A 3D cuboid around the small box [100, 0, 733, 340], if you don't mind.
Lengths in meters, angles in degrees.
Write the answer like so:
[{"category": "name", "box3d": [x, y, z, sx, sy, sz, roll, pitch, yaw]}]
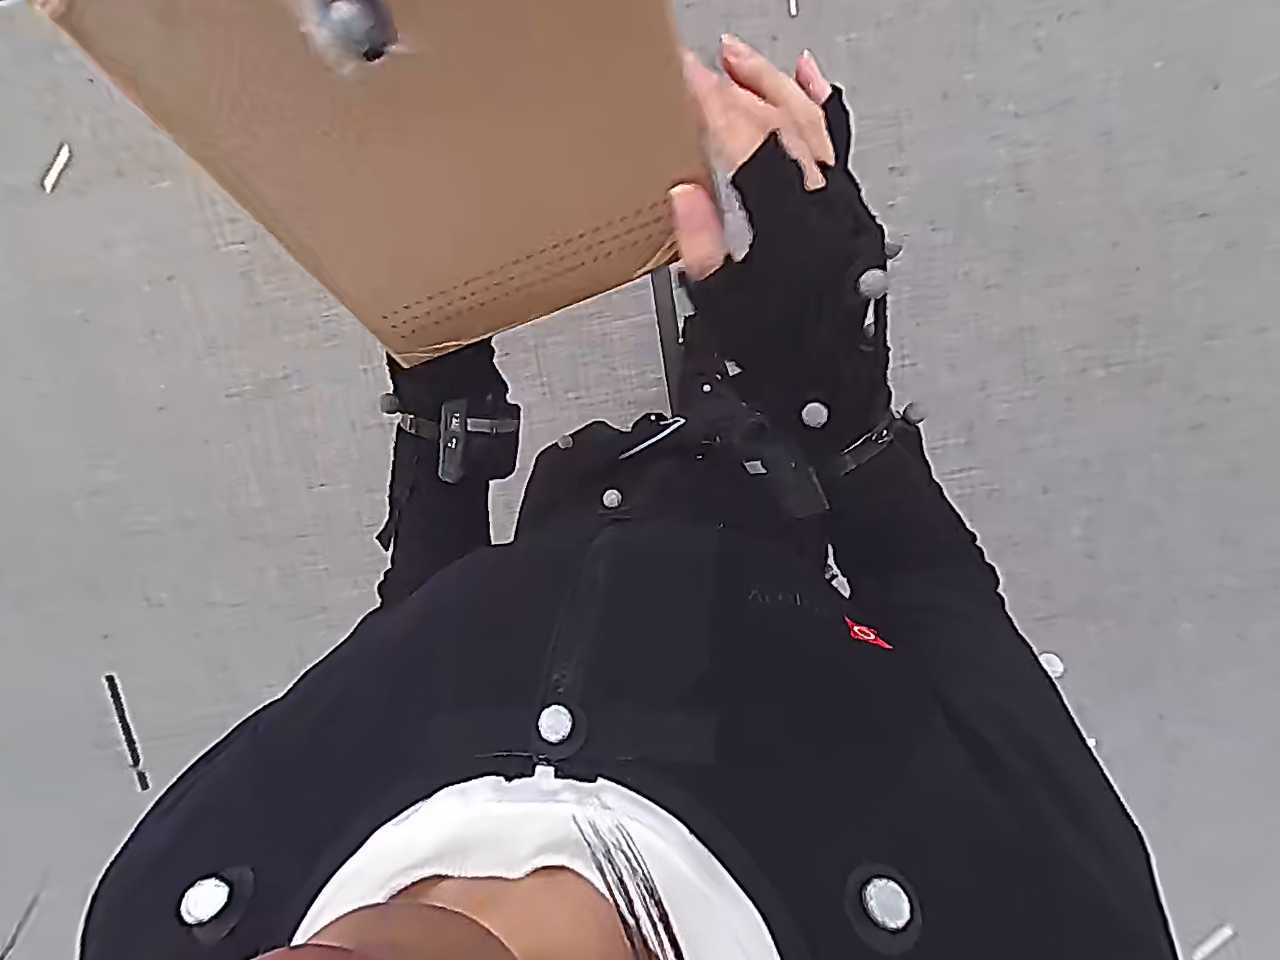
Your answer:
[{"category": "small box", "box3d": [-0.071, -0.197, 0.256, 0.179, 0.176, 0.168, -18, 56, 11]}]
